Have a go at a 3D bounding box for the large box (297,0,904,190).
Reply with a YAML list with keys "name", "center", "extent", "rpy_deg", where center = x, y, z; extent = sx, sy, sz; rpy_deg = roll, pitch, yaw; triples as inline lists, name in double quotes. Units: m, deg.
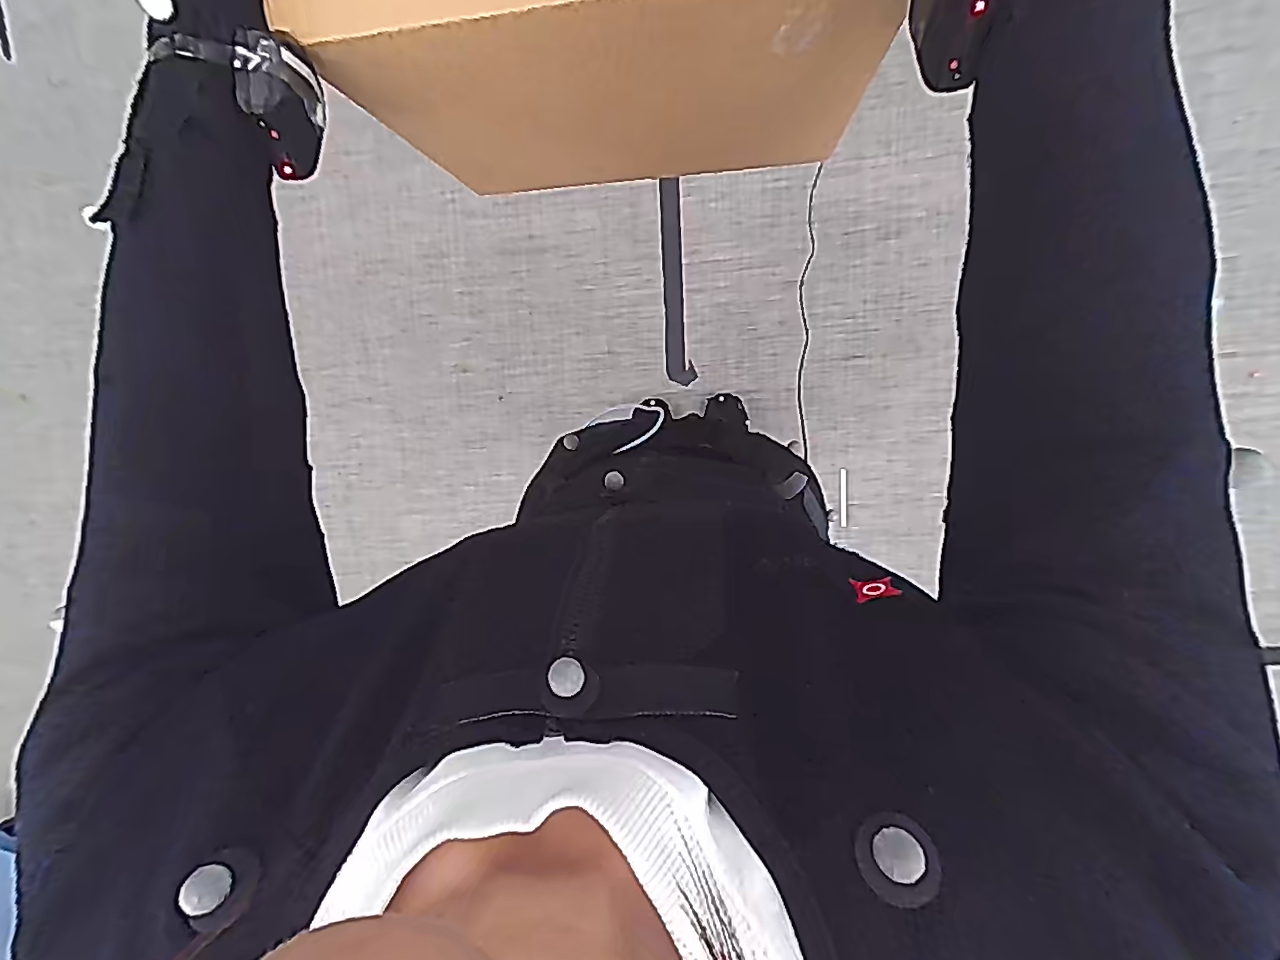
- name: "large box"
  center: [-0.018, -0.472, 0.444]
  extent: [0.408, 0.320, 0.320]
  rpy_deg: [-2, 102, 7]
